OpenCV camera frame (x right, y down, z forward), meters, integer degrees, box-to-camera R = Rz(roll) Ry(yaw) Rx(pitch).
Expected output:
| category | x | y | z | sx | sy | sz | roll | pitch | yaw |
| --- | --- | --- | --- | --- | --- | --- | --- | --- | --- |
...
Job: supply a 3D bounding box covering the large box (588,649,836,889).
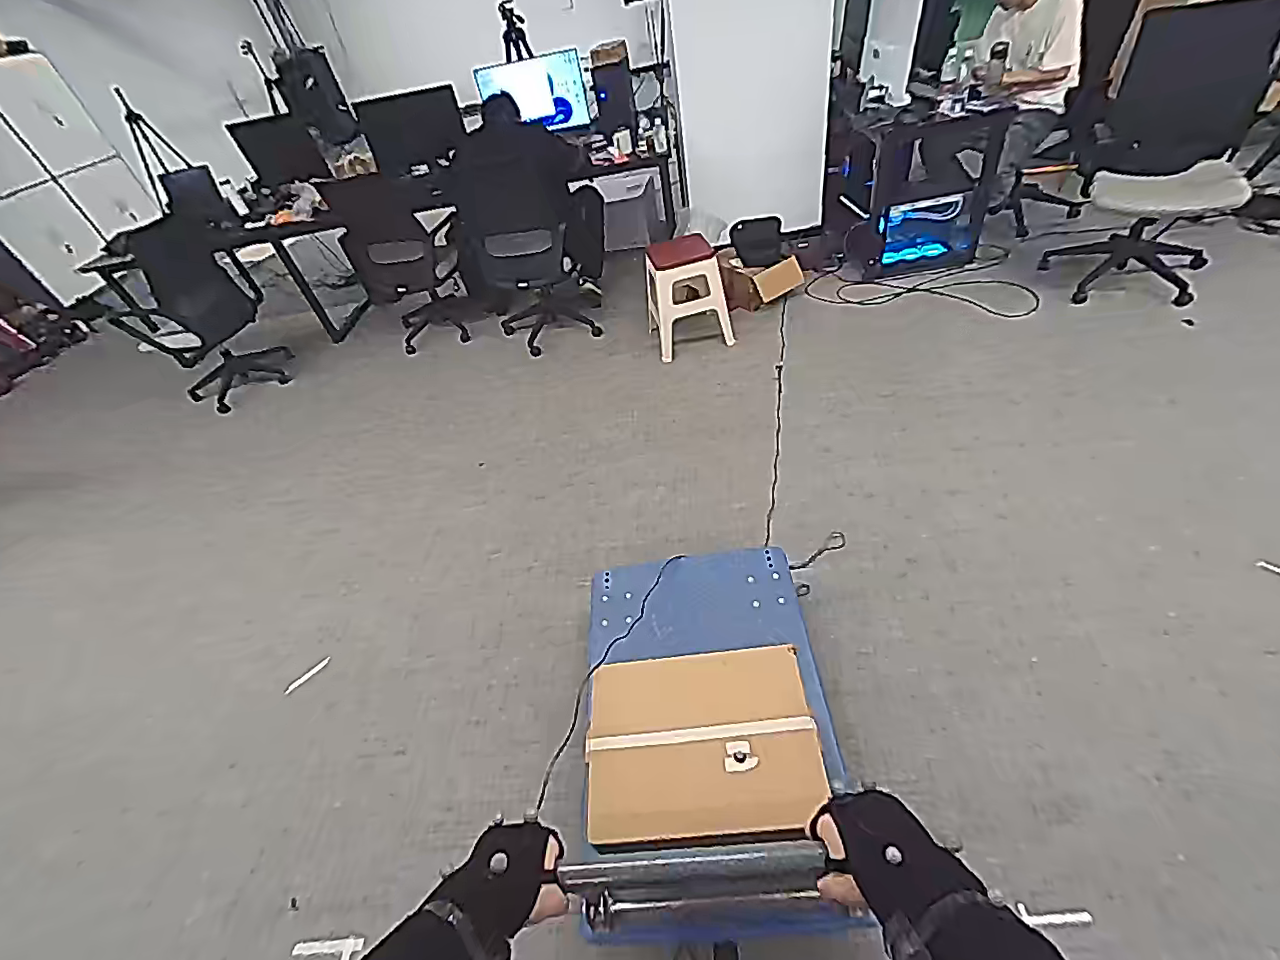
| category | x | y | z | sx | sy | sz | roll | pitch | yaw |
| --- | --- | --- | --- | --- | --- | --- | --- | --- | --- |
| large box | 0.125 | 0.571 | 1.061 | 0.408 | 0.320 | 0.320 | -8 | 44 | 5 |
